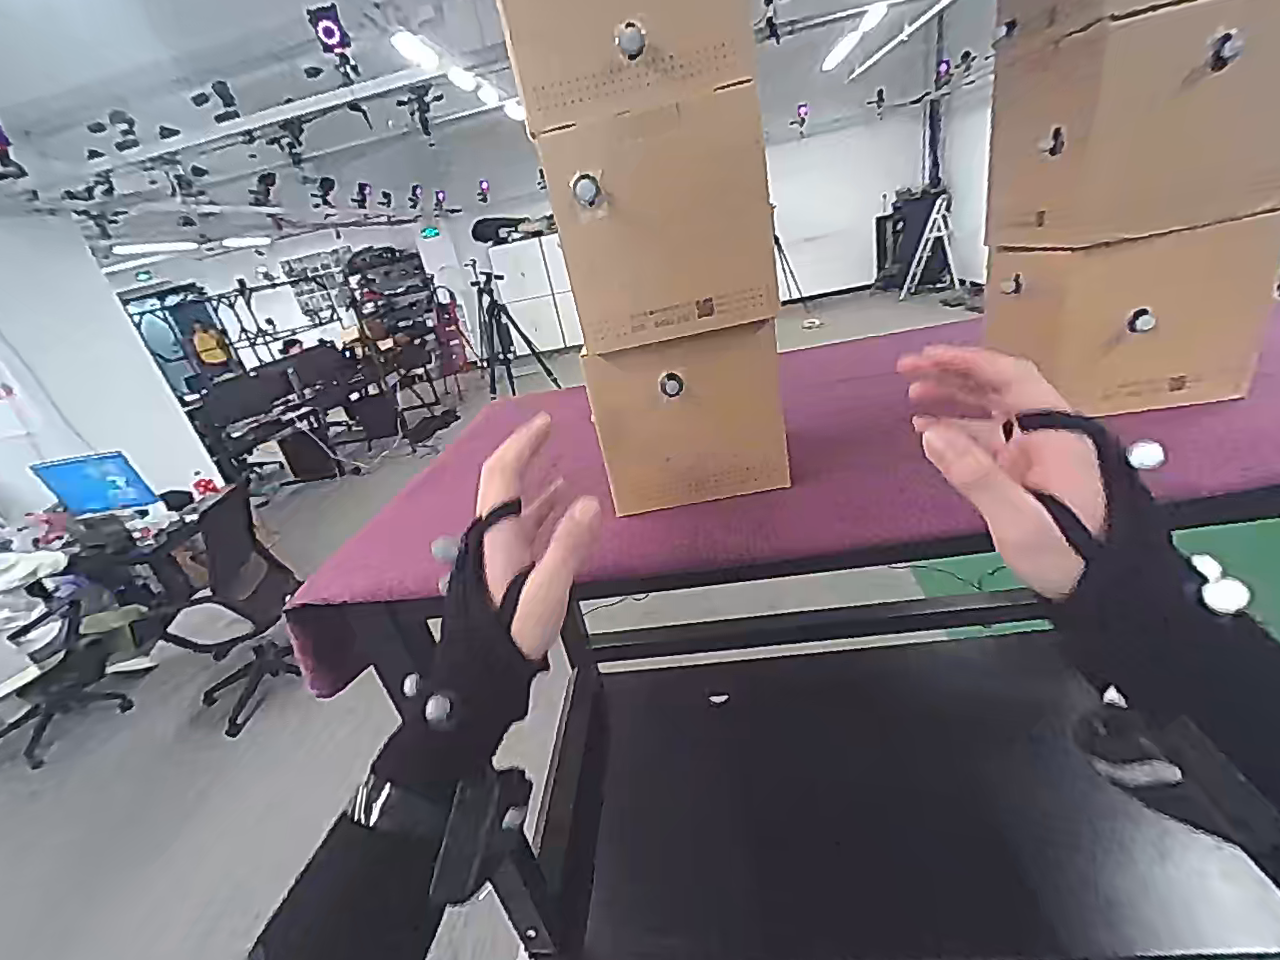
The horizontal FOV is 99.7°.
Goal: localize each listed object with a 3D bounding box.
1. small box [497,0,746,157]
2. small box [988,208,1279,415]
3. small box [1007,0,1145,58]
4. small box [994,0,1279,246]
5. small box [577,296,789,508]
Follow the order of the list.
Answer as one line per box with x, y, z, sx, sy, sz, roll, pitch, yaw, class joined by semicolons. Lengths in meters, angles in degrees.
-0.014;-0.379;0.440;0.179;0.176;0.168;-10;23;4;small box
0.486;-0.172;0.559;0.168;0.176;0.179;-7;23;12;small box
0.422;-0.467;0.432;0.179;0.176;0.168;-8;24;10;small box
0.450;-0.315;0.487;0.179;0.176;0.168;-8;24;9;small box
0.047;-0.084;0.569;0.179;0.176;0.168;-10;24;5;small box
